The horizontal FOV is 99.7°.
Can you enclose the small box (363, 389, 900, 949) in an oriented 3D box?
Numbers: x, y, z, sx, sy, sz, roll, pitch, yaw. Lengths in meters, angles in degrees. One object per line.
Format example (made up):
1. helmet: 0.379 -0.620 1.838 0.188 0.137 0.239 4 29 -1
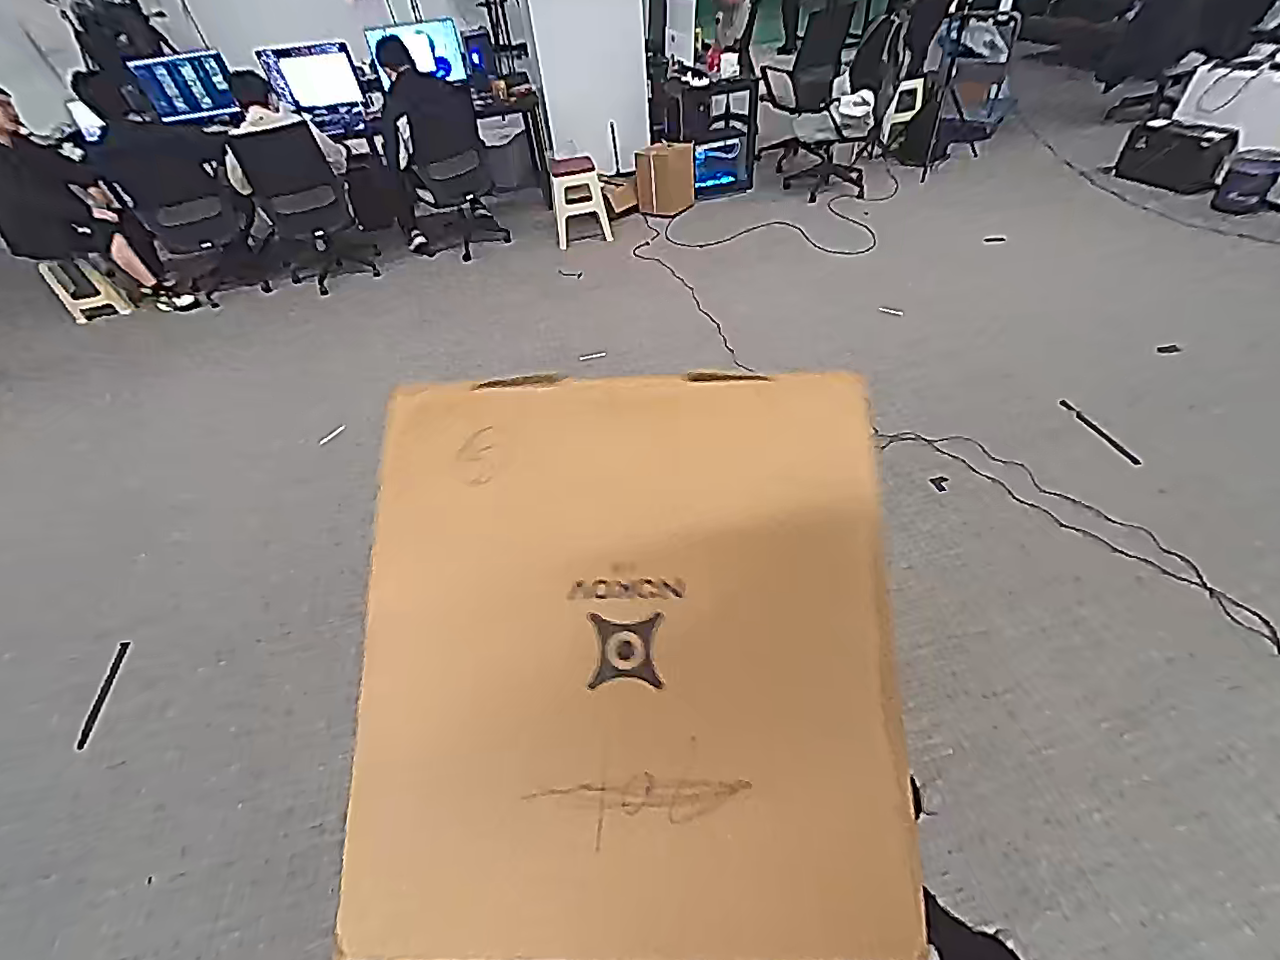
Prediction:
1. small box: -0.004 0.074 0.261 0.168 0.176 0.179 -4 77 3
